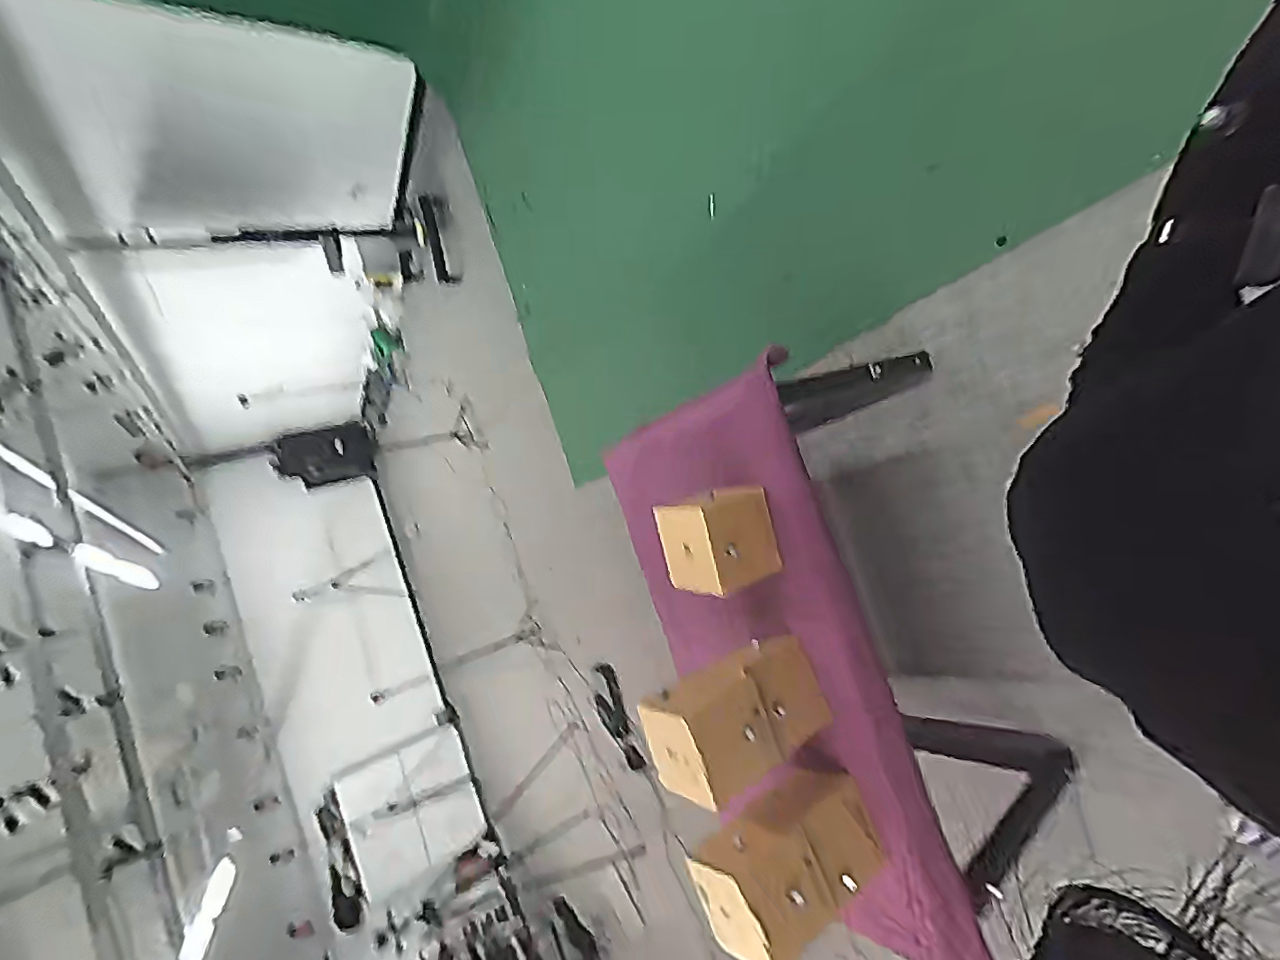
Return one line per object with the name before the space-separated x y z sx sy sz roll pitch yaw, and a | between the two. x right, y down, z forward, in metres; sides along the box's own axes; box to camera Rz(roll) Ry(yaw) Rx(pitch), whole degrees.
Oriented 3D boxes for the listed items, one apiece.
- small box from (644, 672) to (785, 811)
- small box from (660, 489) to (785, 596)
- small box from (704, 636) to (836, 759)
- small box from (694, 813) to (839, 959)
small box | 0.140 0.481 1.028 0.179 0.176 0.168 -25 84 57
small box | 0.172 0.120 1.121 0.168 0.176 0.179 -8 99 58
small box | 0.270 0.446 1.123 0.168 0.176 0.179 -37 72 55
small box | 0.239 0.753 1.003 0.179 0.176 0.168 -39 71 55
